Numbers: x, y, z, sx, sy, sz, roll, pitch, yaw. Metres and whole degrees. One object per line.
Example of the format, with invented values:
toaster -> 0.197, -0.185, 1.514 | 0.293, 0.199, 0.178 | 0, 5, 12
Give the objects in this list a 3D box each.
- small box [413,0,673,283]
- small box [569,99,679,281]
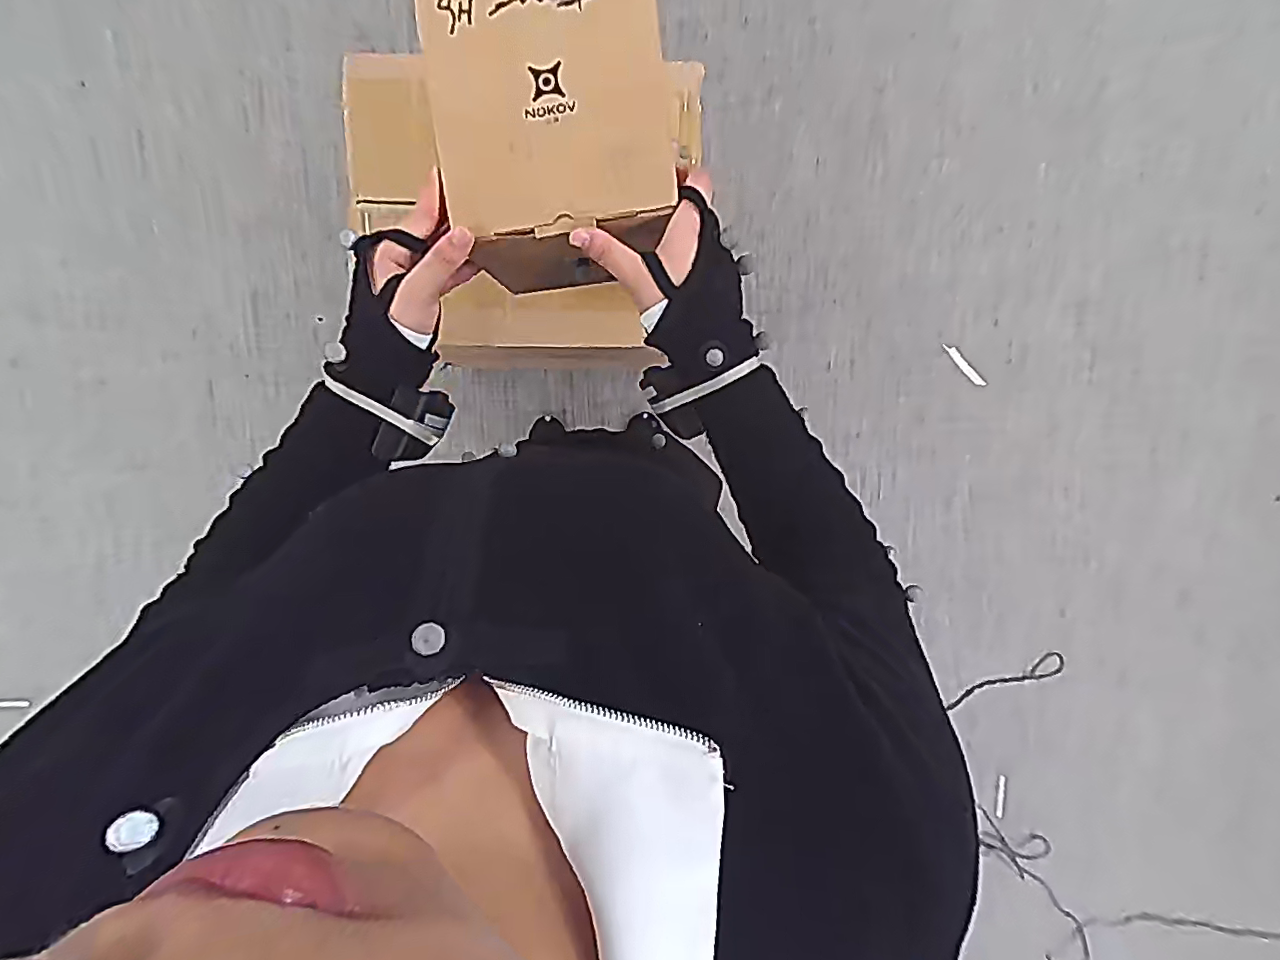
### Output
small box -> -0.062, -0.275, 0.455 | 0.168, 0.176, 0.179 | -7, 97, 3
small box -> -0.039, -0.379, 0.730 | 0.168, 0.176, 0.179 | 0, 99, -1
